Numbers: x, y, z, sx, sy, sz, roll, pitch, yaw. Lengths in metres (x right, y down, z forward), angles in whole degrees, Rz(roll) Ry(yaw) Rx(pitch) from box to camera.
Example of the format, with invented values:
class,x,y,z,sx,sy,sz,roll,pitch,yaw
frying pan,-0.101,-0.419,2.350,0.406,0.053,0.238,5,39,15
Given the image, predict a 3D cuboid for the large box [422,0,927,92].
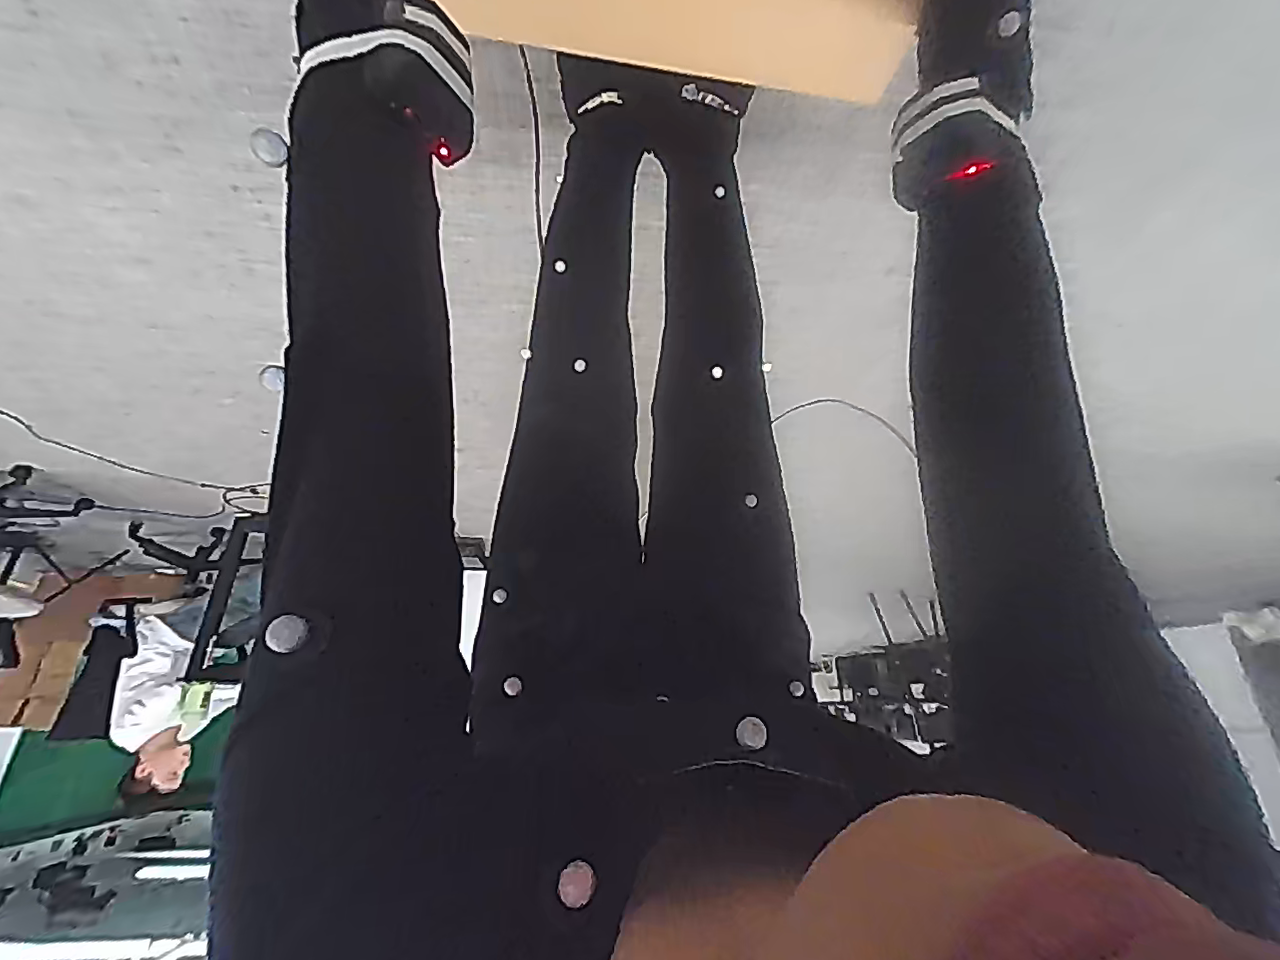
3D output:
class,x,y,z,sx,sy,sz,roll,pitch,yaw
large box,0.038,-0.555,0.390,0.408,0.320,0.320,2,155,-9
